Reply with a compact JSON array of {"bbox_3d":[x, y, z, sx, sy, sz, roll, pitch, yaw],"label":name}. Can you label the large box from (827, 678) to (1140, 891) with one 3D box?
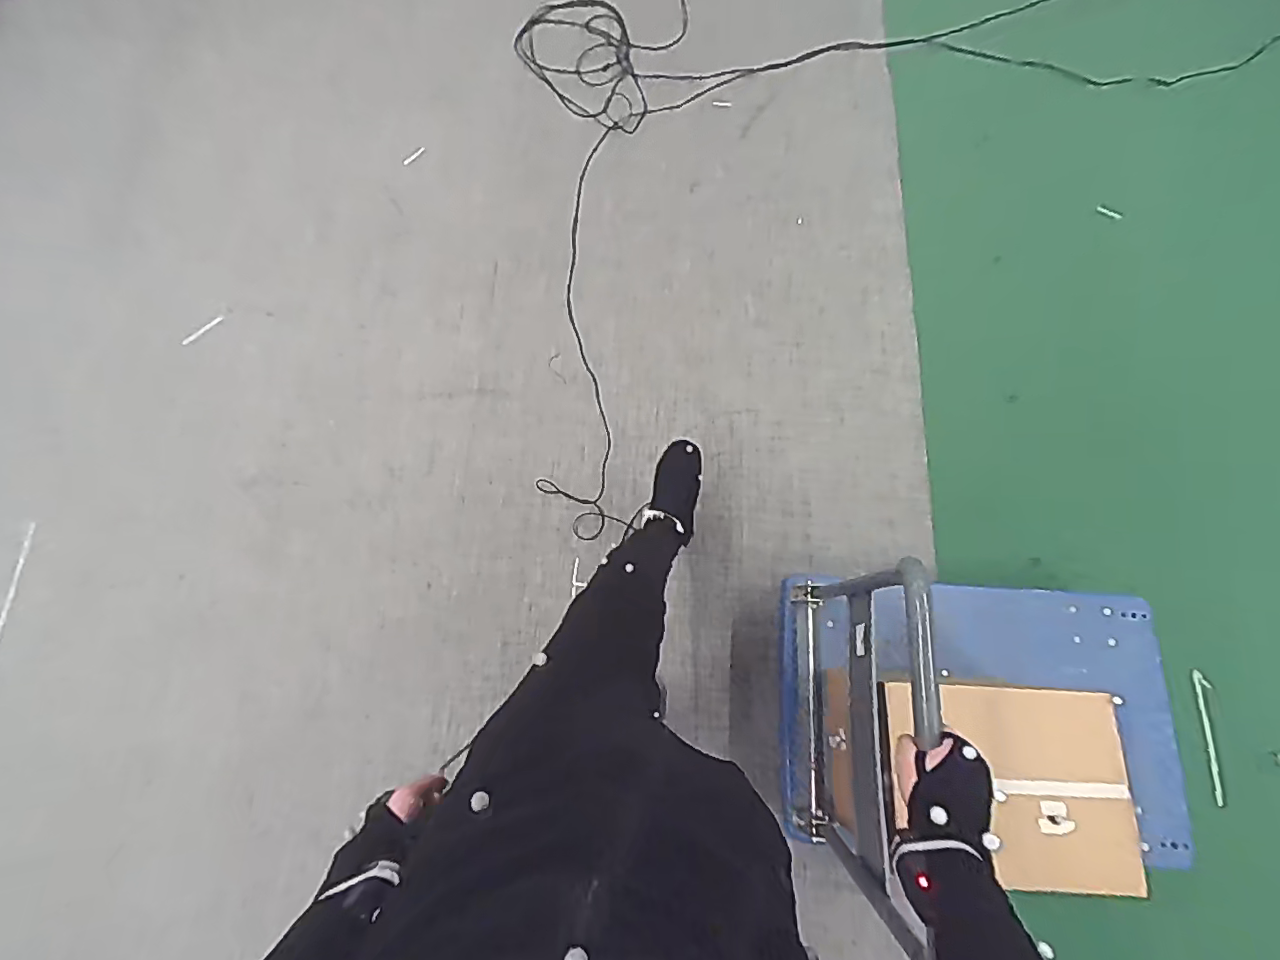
[{"bbox_3d":[0.628,0.566,1.072,0.408,0.320,0.320,3,74,0],"label":"large box"}]
